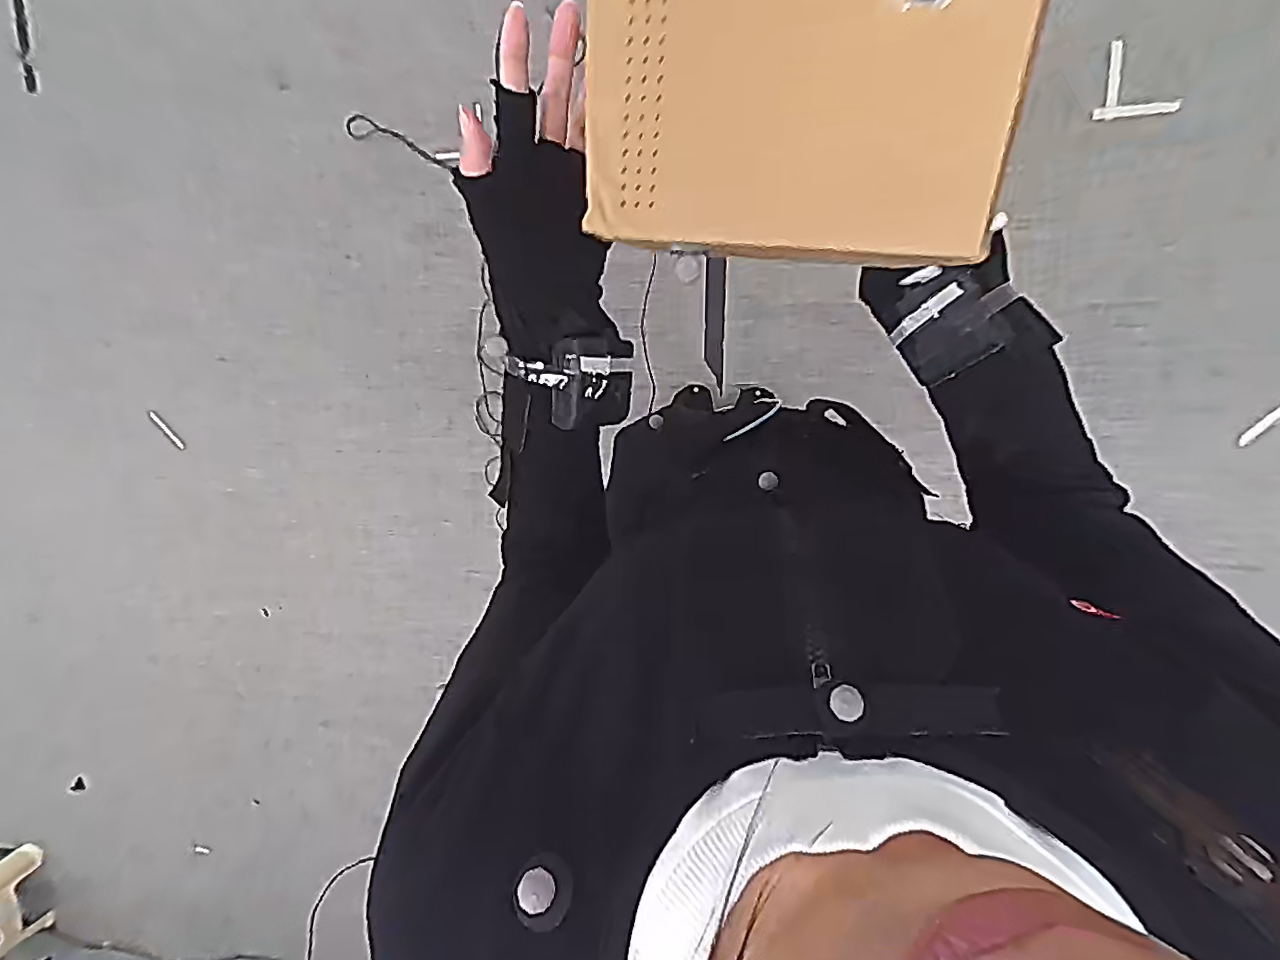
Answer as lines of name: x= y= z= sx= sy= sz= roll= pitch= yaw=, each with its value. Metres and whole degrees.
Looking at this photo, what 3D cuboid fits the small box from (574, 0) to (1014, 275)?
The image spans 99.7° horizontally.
small box: x=0.070 y=-0.206 z=0.285 sx=0.176 sy=0.168 sz=0.179 roll=8 pitch=111 yaw=12
